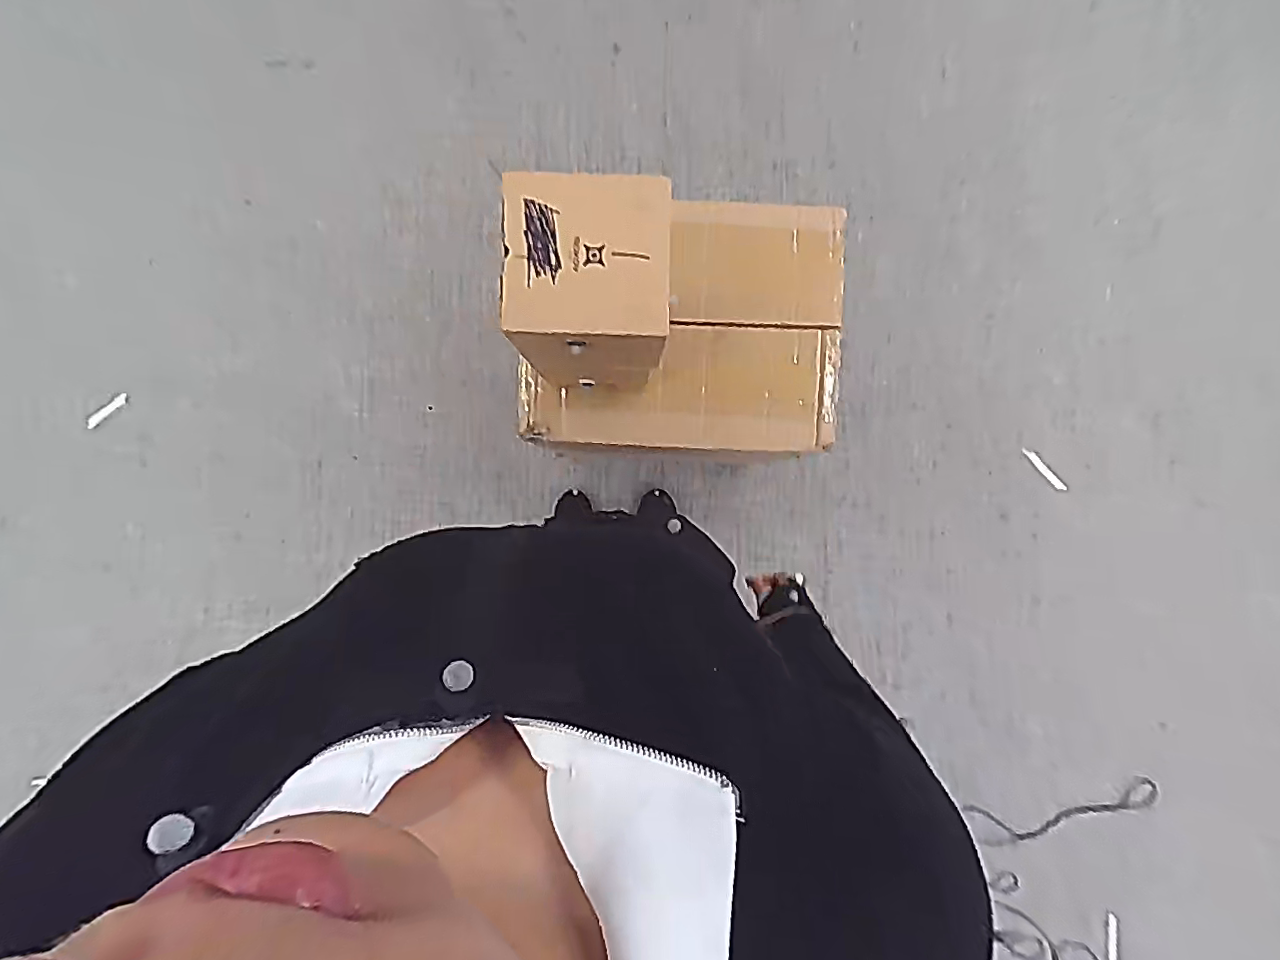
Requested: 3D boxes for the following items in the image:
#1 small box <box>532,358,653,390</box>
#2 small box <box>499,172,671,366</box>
[{"bbox_3d":[-0.063,-0.237,0.805,0.168,0.176,0.179,2,91,-1],"label":"small box"},{"bbox_3d":[-0.058,-0.235,0.640,0.179,0.176,0.168,1,90,-2],"label":"small box"}]
